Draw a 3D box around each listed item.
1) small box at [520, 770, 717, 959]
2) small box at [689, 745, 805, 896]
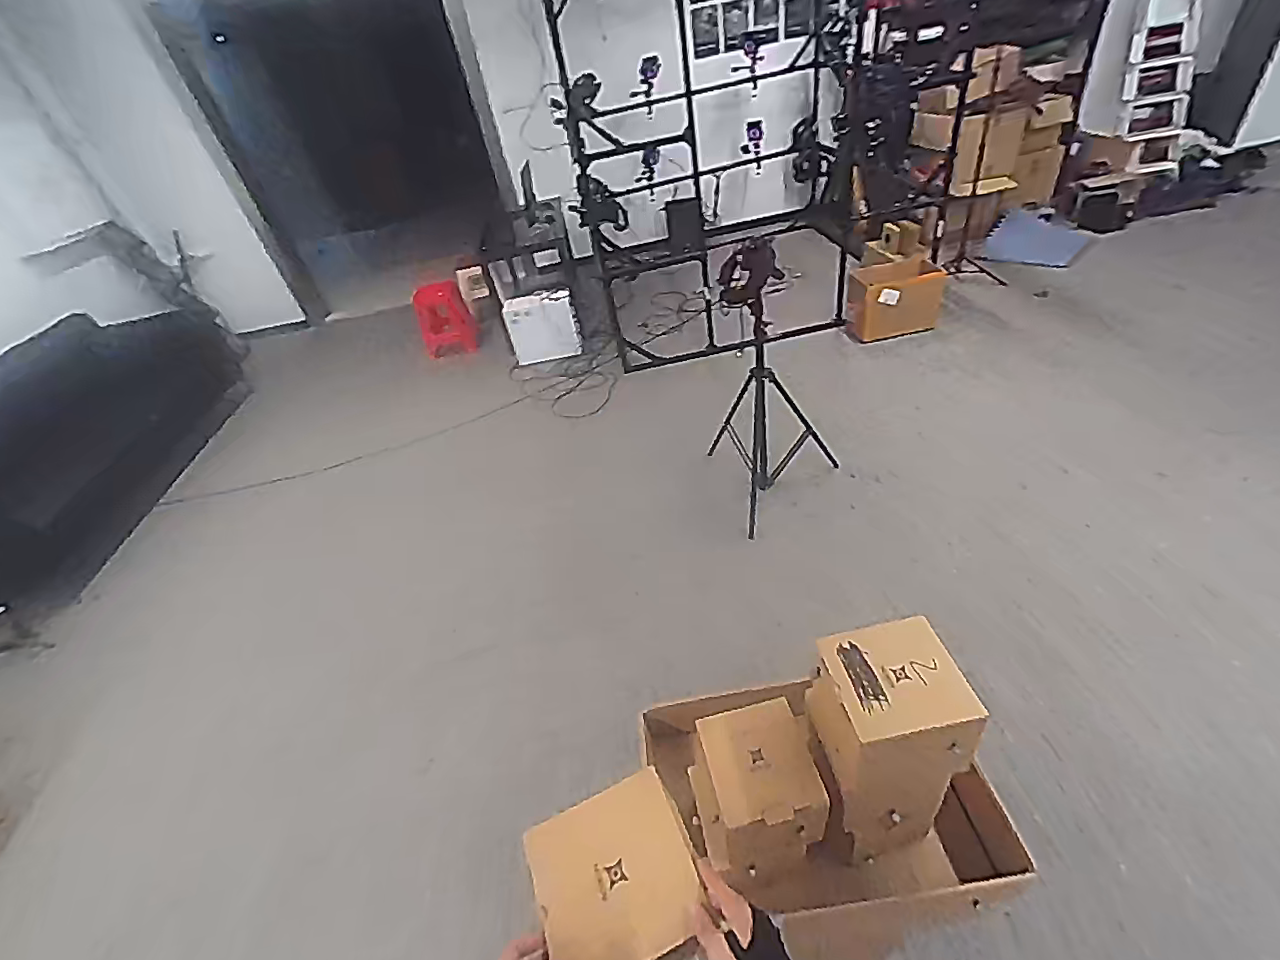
[{"bbox_3d":[-0.018,0.488,0.649,0.179,0.176,0.168,-26,47,-7],"label":"small box"},{"bbox_3d":[0.196,0.641,1.021,0.168,0.176,0.179,-14,38,-2],"label":"small box"}]
